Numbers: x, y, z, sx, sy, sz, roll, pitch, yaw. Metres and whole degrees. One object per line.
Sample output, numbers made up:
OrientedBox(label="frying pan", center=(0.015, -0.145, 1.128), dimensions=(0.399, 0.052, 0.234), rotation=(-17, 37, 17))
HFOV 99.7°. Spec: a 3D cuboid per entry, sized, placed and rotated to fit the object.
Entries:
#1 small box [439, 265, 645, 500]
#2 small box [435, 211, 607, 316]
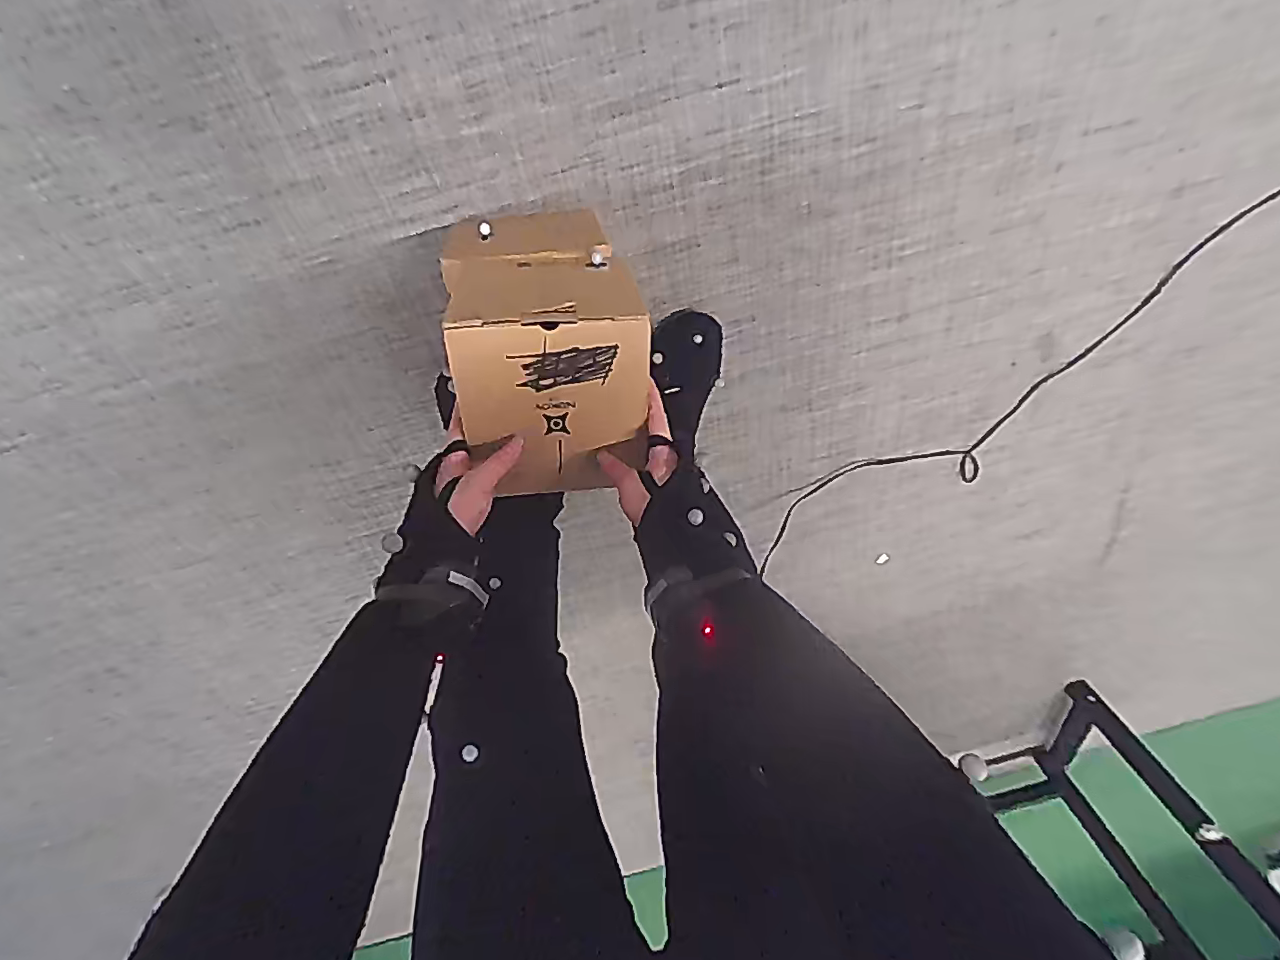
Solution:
OrientedBox(label="small box", center=(-0.092, -0.105, 0.538), dimensions=(0.168, 0.176, 0.179), rotation=(-5, 129, -8))
OrientedBox(label="small box", center=(-0.129, -0.215, 0.658), dimensions=(0.179, 0.176, 0.168), rotation=(-10, 130, -5))
